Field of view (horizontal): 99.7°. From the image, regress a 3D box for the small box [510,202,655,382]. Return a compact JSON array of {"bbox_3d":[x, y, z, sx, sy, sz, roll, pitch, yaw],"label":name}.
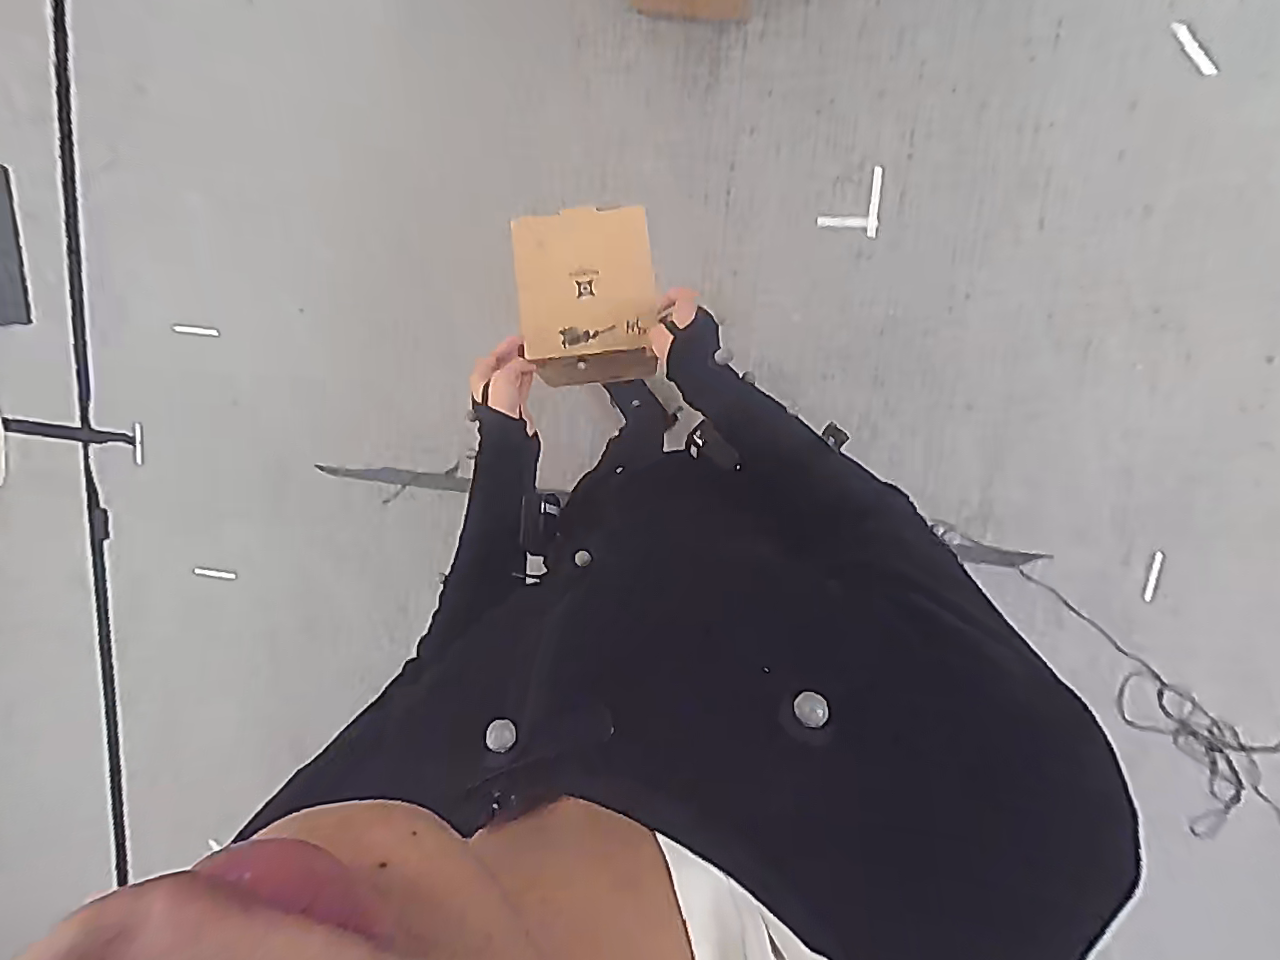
[{"bbox_3d":[-0.071,-0.241,0.727,0.168,0.176,0.179,-5,89,0],"label":"small box"}]
